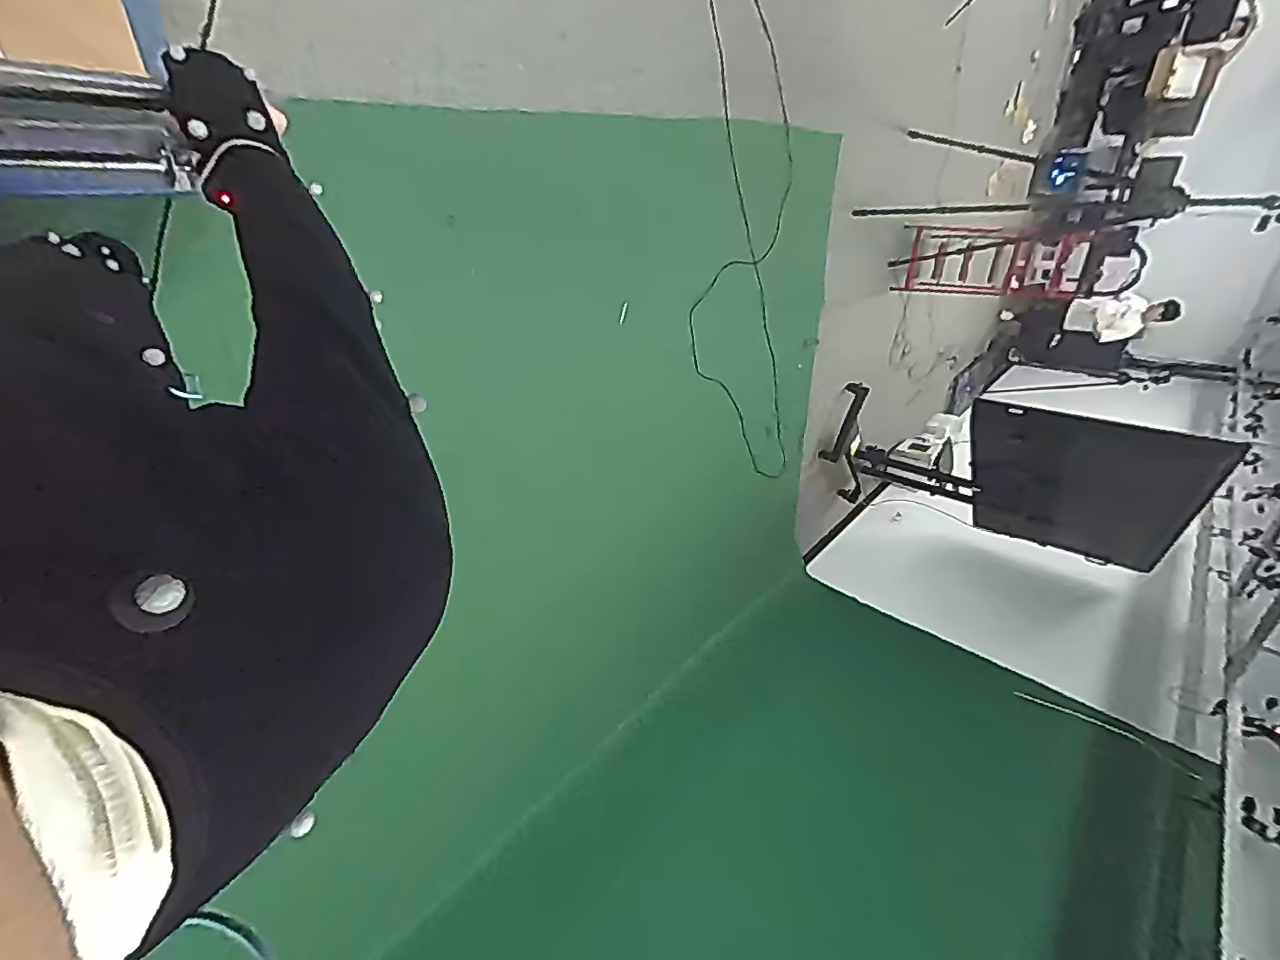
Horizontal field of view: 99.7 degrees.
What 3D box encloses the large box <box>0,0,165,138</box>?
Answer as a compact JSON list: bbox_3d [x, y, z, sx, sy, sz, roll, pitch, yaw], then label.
[{"bbox_3d":[-0.912,-0.698,0.700,0.320,0.320,0.408,-27,125,-40],"label":"large box"}]
